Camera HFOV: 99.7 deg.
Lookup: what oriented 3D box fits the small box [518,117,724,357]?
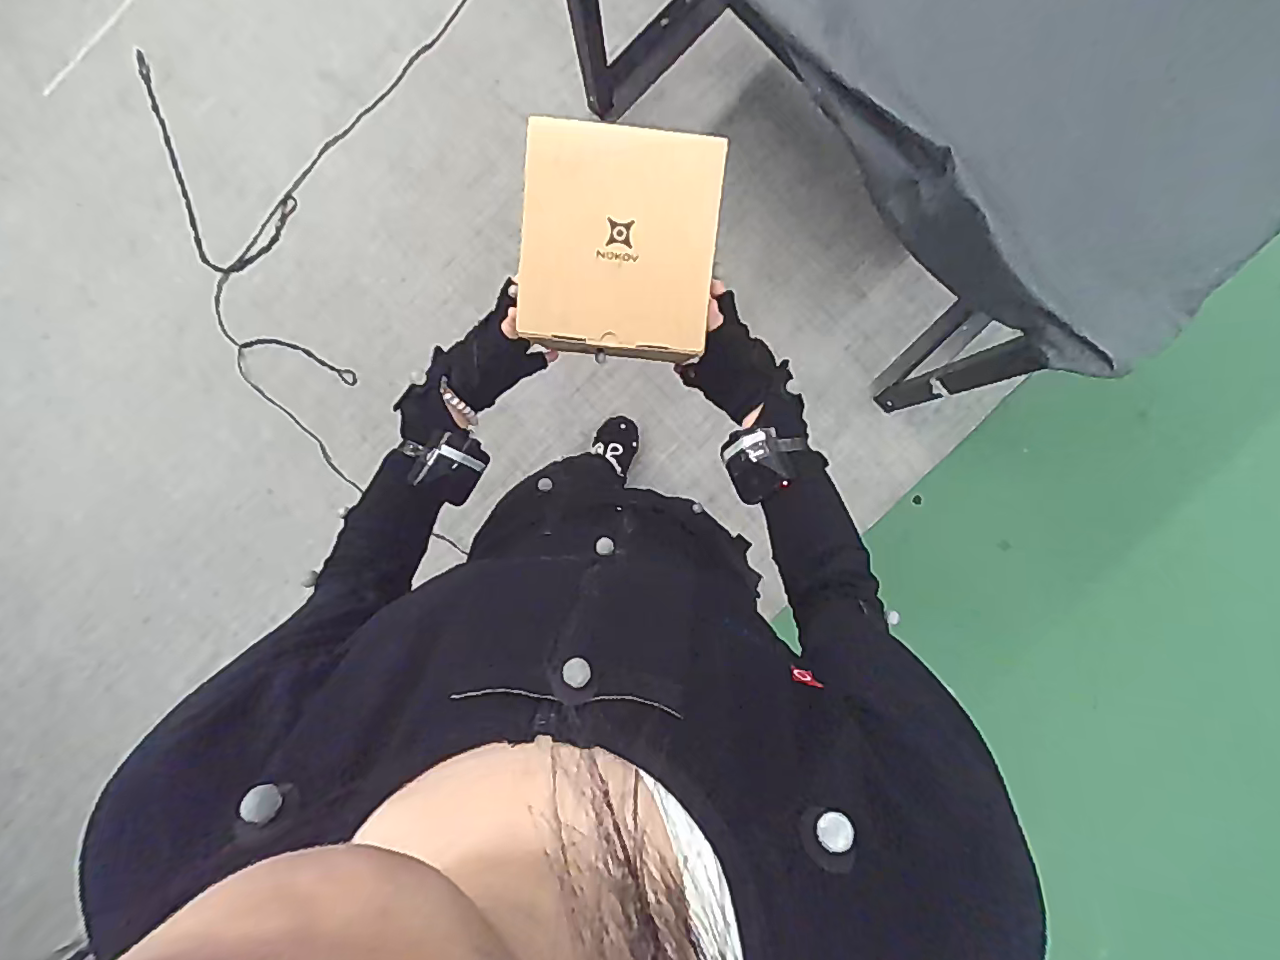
[{"bbox_3d":[-0.022,-0.223,0.545,0.168,0.176,0.179,6,101,-3],"label":"small box"}]
